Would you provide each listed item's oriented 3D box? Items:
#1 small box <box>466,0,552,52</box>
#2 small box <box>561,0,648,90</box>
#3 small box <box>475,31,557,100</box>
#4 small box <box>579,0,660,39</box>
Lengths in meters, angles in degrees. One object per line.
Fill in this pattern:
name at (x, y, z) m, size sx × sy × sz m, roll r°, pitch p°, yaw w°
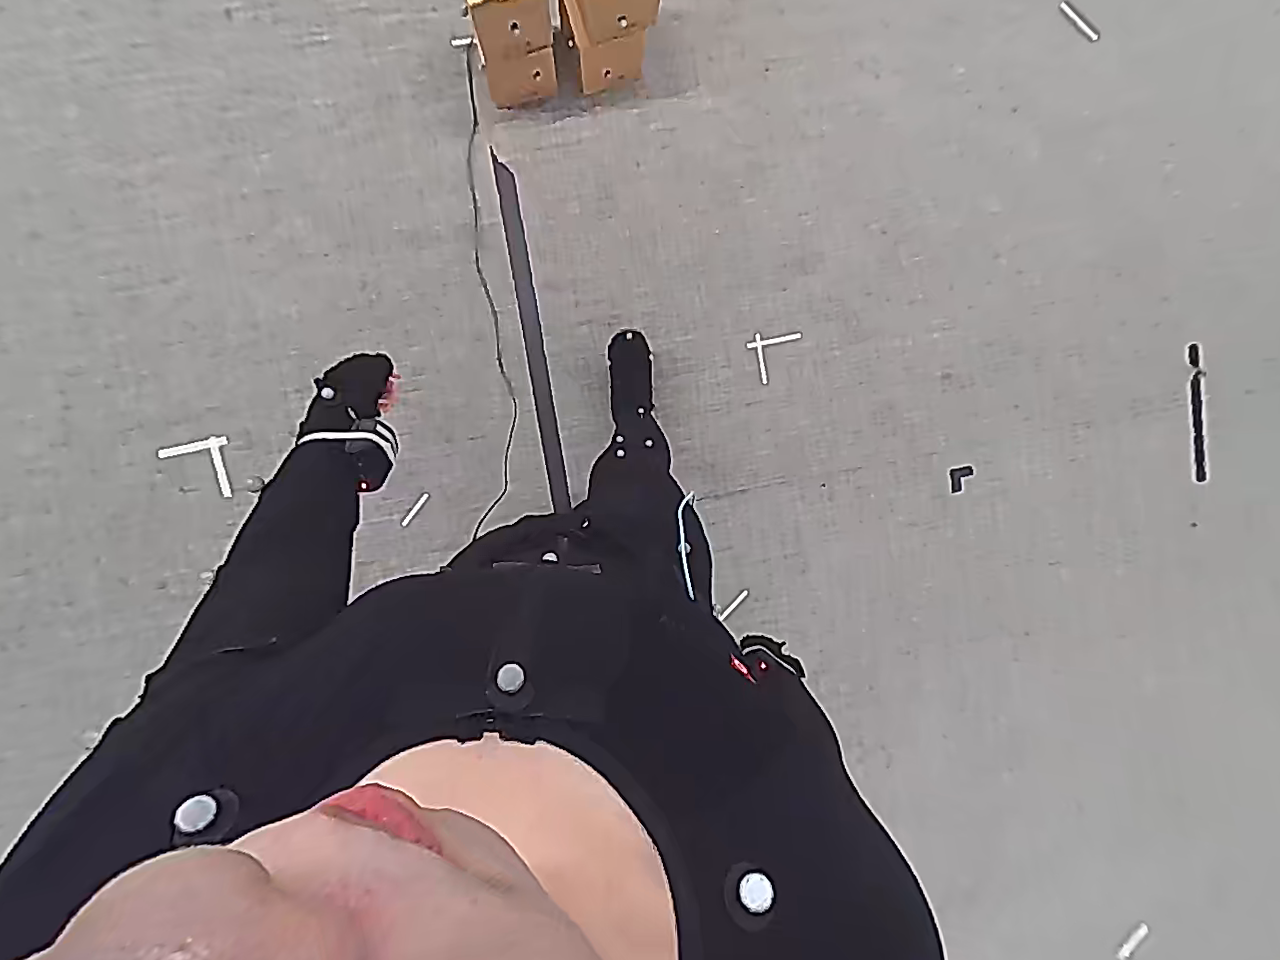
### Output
small box at (-0.292, -1.049, 1.136) m, size 0.168 × 0.176 × 0.179 m, roll -19°, pitch 96°, yaw -2°
small box at (-0.090, -1.101, 1.309) m, size 0.168 × 0.176 × 0.179 m, roll -19°, pitch 96°, yaw -2°
small box at (-0.302, -1.056, 1.300) m, size 0.168 × 0.176 × 0.179 m, roll -15°, pitch 95°, yaw -3°
small box at (-0.055, -1.100, 1.147) m, size 0.168 × 0.176 × 0.179 m, roll -18°, pitch 97°, yaw -2°
